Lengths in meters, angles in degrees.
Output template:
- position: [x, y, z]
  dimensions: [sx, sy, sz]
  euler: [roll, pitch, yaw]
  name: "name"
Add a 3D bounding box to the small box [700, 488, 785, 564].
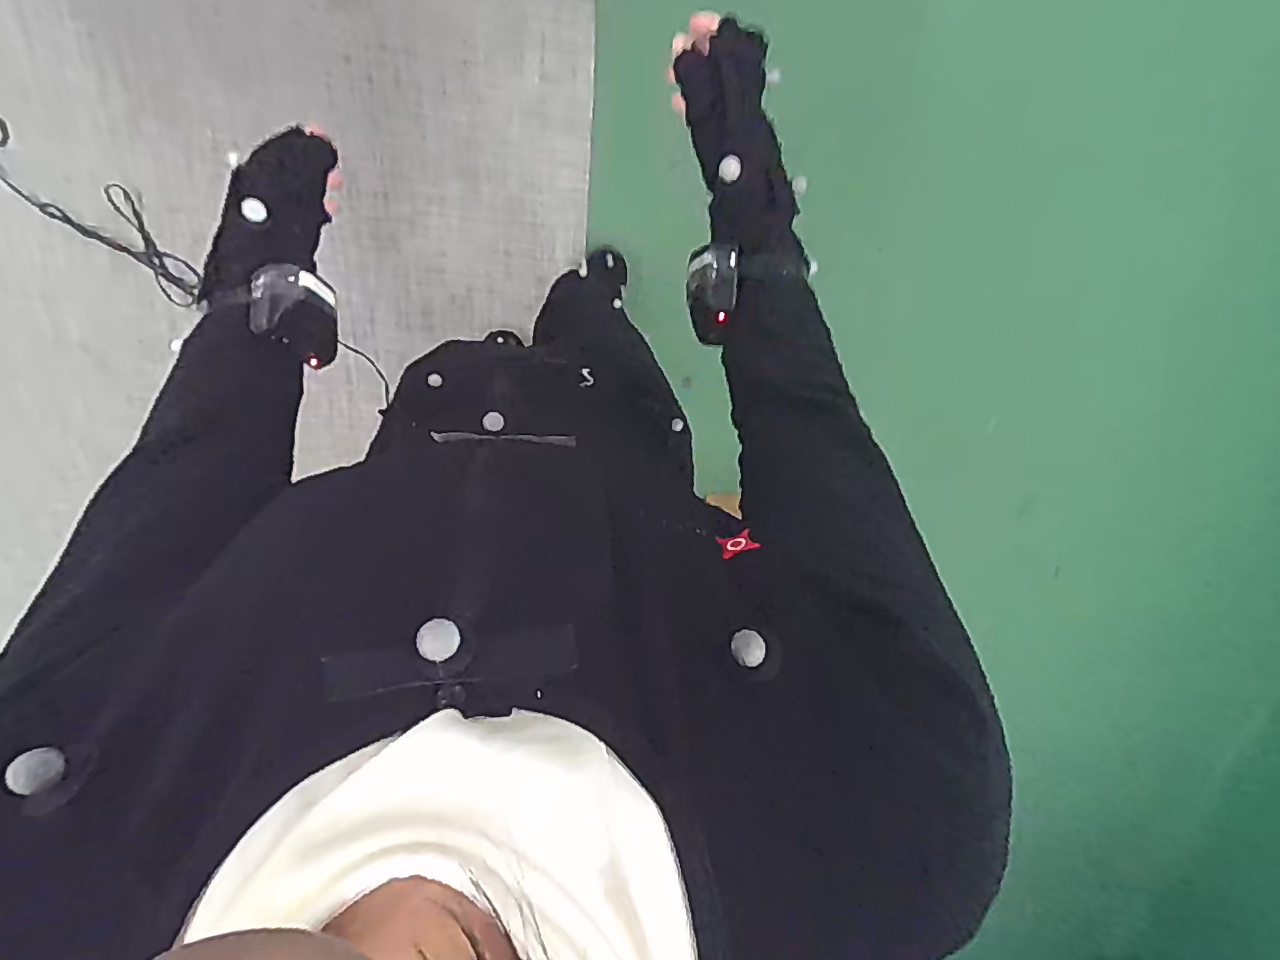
- position: [0.284, 0.129, 1.532]
  dimensions: [0.179, 0.176, 0.168]
  euler: [3, 110, -11]
  name: "small box"
